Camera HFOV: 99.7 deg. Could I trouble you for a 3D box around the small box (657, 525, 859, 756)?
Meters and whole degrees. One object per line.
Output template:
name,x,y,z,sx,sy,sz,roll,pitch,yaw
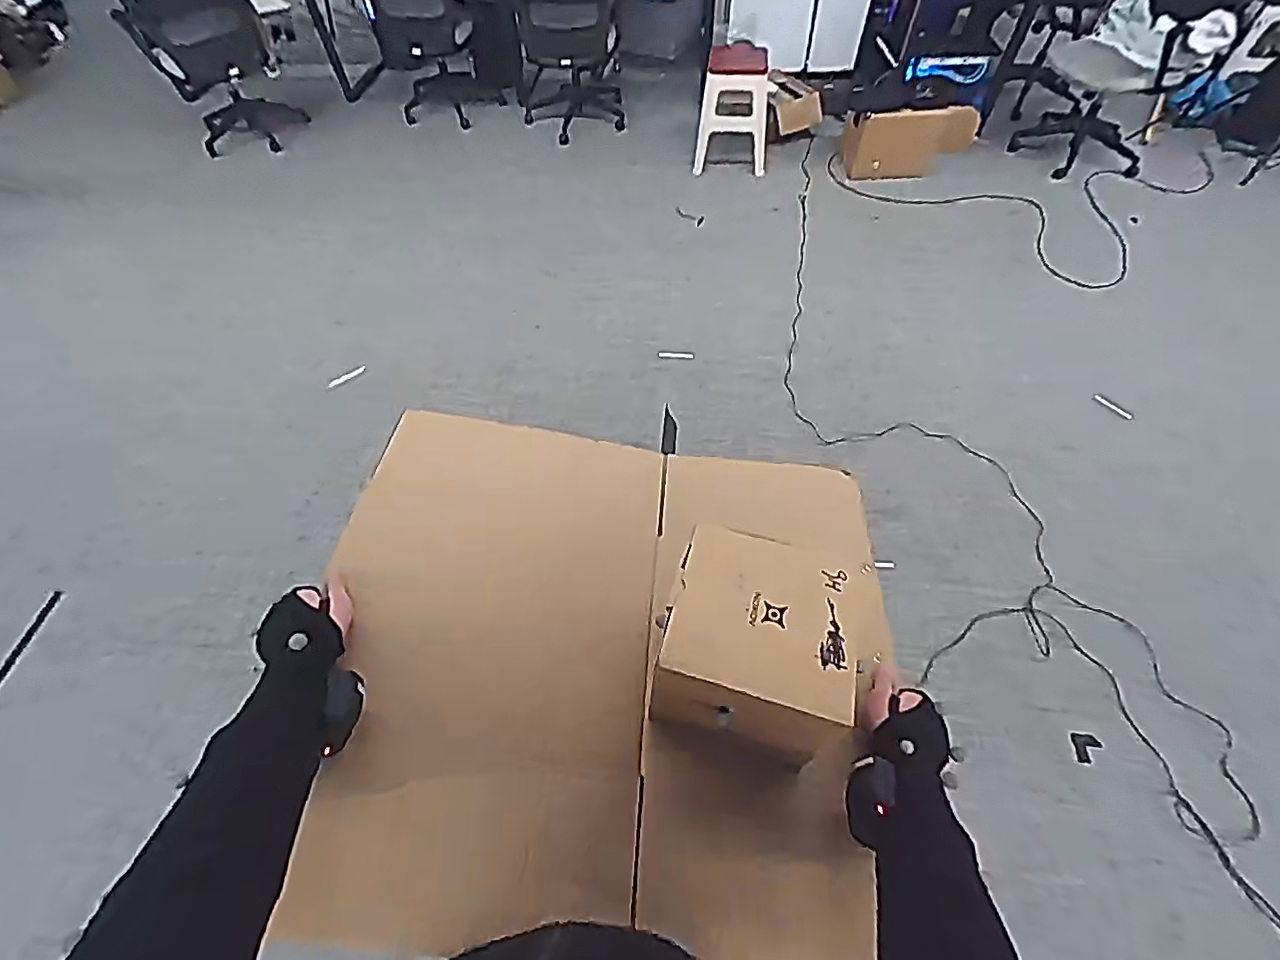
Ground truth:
small box,0.121,0.177,0.588,0.179,0.176,0.168,13,52,10
